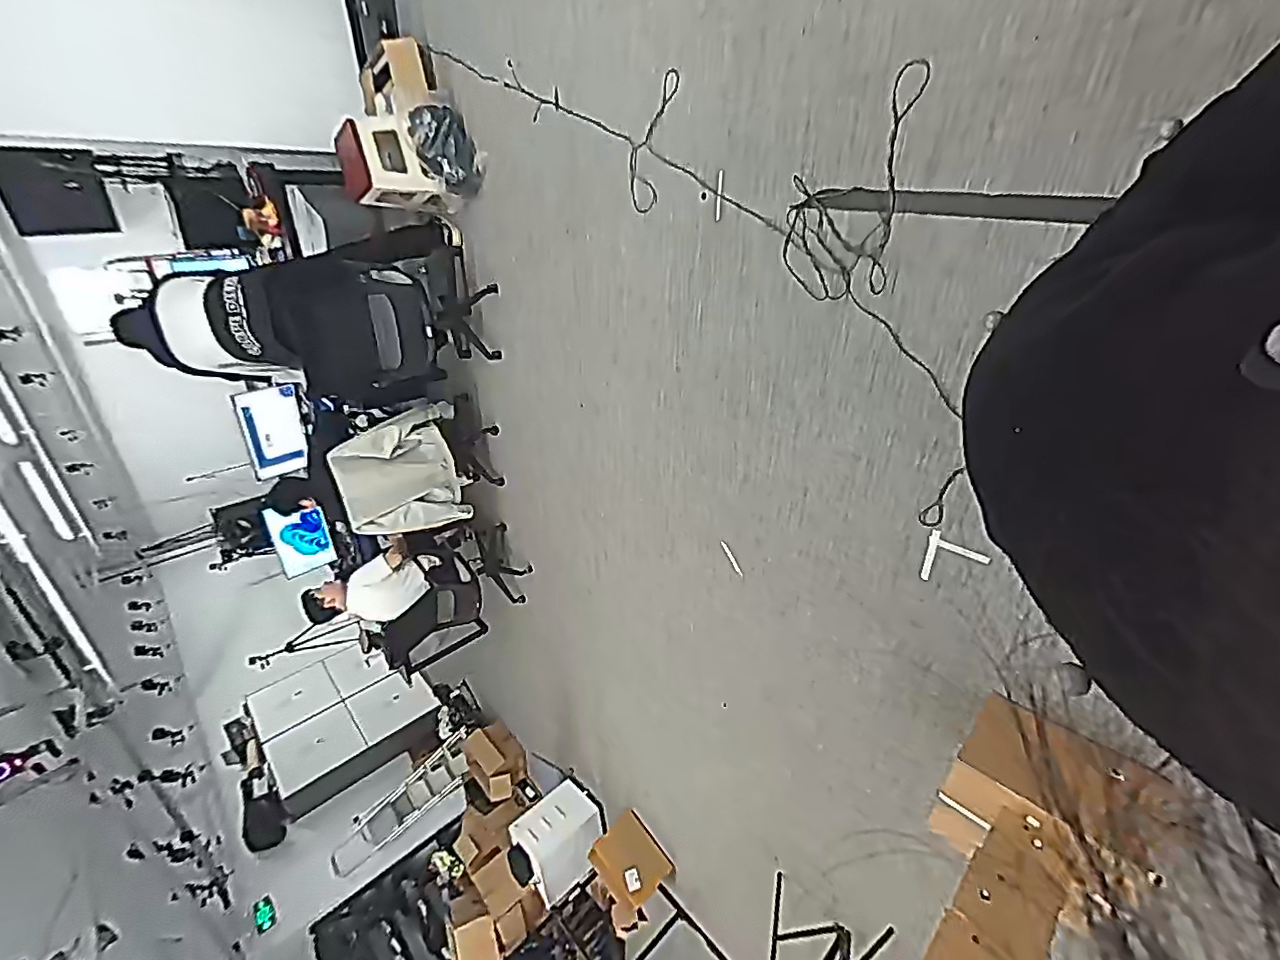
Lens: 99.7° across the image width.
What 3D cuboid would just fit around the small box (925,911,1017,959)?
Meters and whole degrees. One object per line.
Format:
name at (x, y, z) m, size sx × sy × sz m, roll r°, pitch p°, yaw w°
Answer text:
small box at (0.664, 1.029, 1.079) m, size 0.168 × 0.176 × 0.179 m, roll 19°, pitch 122°, yaw 45°

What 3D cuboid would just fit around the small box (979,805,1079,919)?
small box at (0.901, 0.928, 1.279) m, size 0.168 × 0.176 × 0.179 m, roll 24°, pitch 125°, yaw 41°

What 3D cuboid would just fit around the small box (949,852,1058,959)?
small box at (0.781, 0.973, 1.180) m, size 0.168 × 0.176 × 0.179 m, roll 24°, pitch 126°, yaw 43°
